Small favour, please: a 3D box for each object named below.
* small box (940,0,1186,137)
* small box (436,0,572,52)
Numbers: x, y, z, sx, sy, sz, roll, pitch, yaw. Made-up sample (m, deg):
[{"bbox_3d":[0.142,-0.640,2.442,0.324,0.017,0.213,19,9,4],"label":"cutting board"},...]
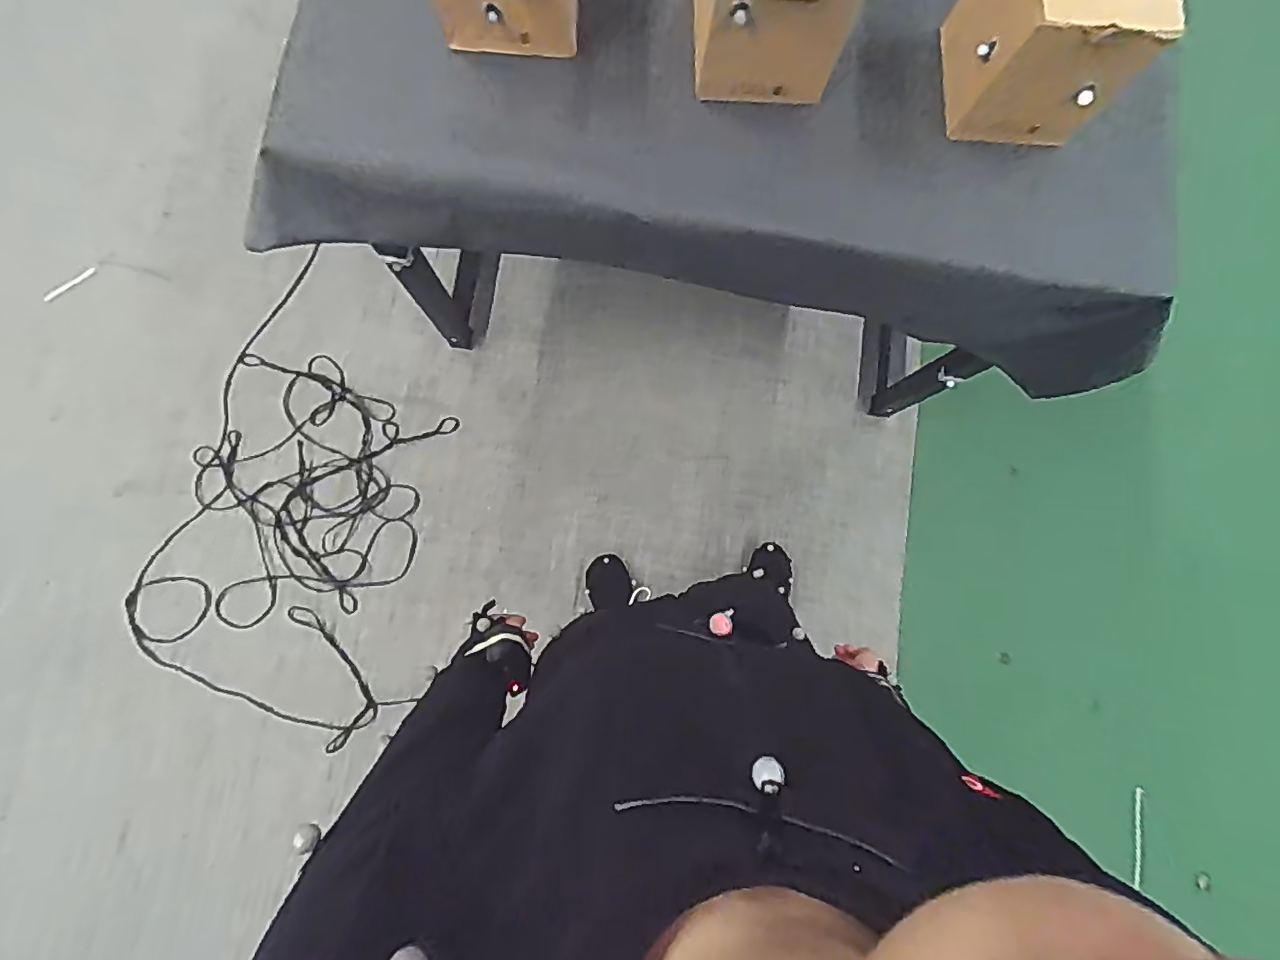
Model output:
[{"bbox_3d":[0.499,-0.560,0.664,0.168,0.176,0.179,1,81,-4],"label":"small box"},{"bbox_3d":[-0.166,-0.660,0.634,0.168,0.176,0.179,1,83,-4],"label":"small box"}]
